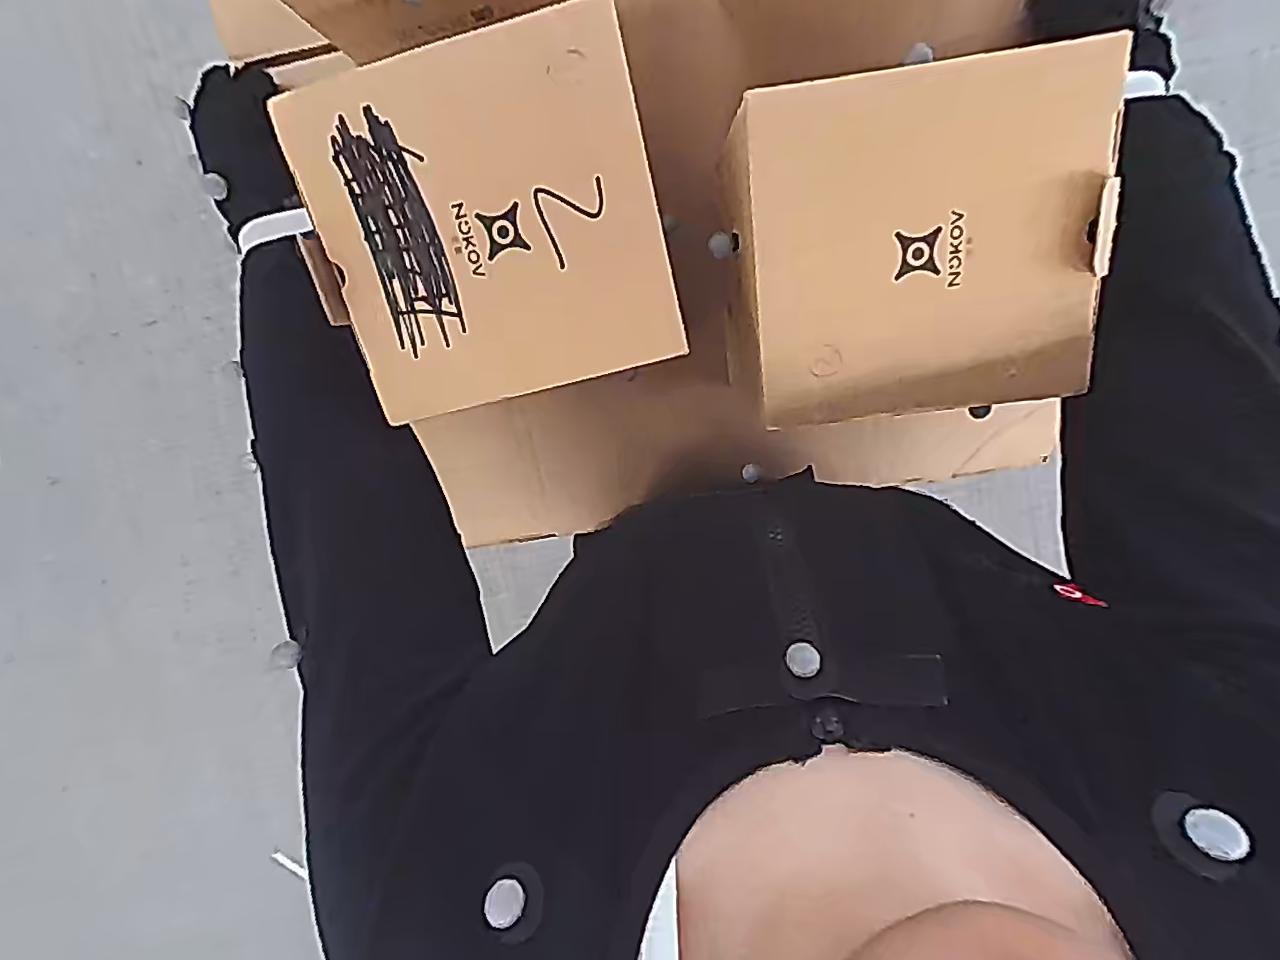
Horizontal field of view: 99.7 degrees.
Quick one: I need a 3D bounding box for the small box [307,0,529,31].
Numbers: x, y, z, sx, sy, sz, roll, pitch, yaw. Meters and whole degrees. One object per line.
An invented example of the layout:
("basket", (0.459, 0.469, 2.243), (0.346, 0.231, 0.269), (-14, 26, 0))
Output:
("small box", (-0.150, -0.382, 0.287), (0.168, 0.176, 0.179), (-10, 107, 5))
